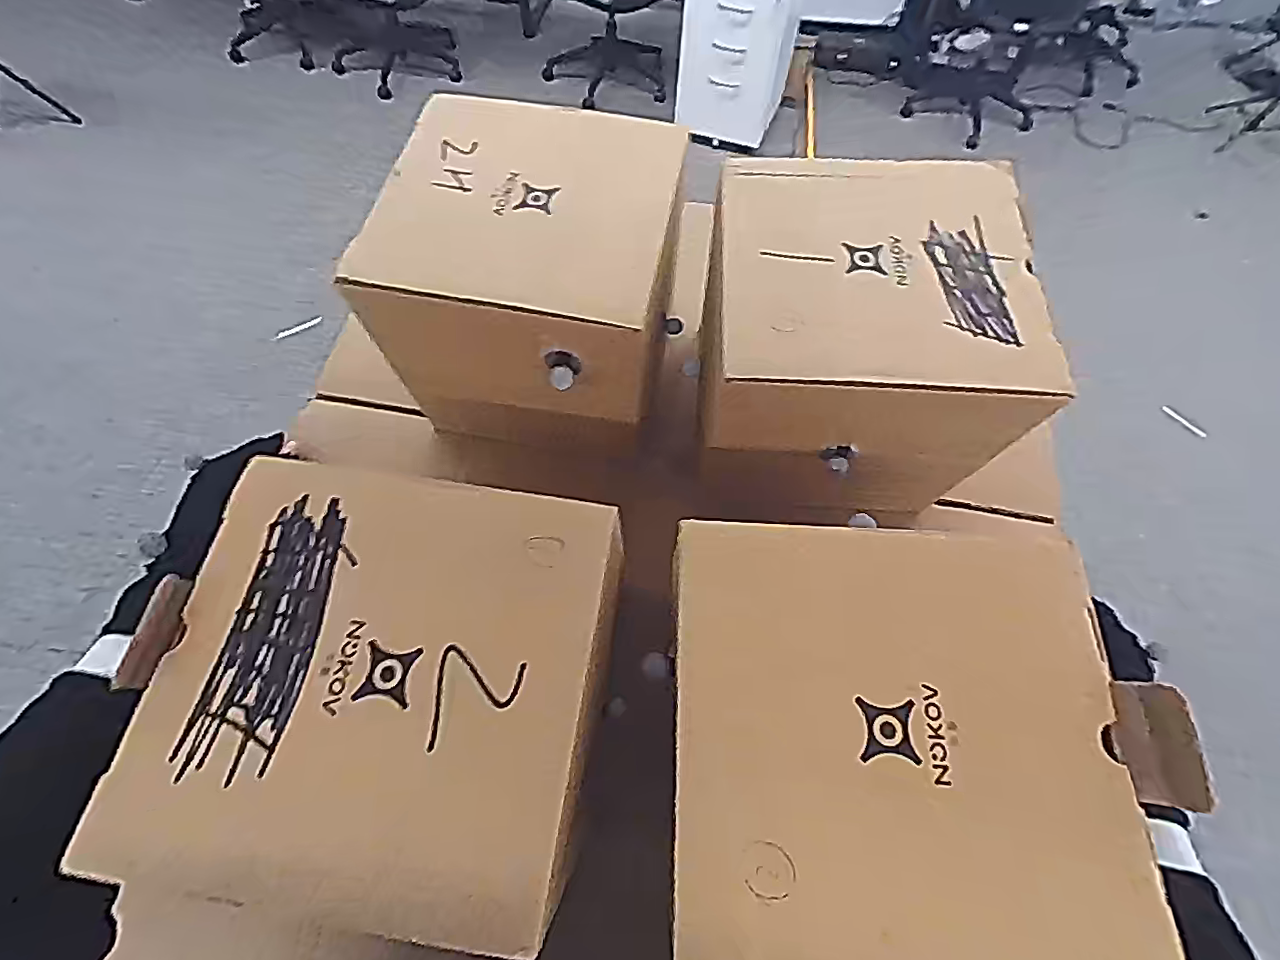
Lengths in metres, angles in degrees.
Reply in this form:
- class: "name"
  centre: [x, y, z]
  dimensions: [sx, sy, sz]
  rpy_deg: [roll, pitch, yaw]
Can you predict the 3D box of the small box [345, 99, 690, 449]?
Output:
- class: "small box"
  centre: [-0.069, -0.139, 0.407]
  dimensions: [0.179, 0.176, 0.168]
  rpy_deg: [11, 66, 5]
